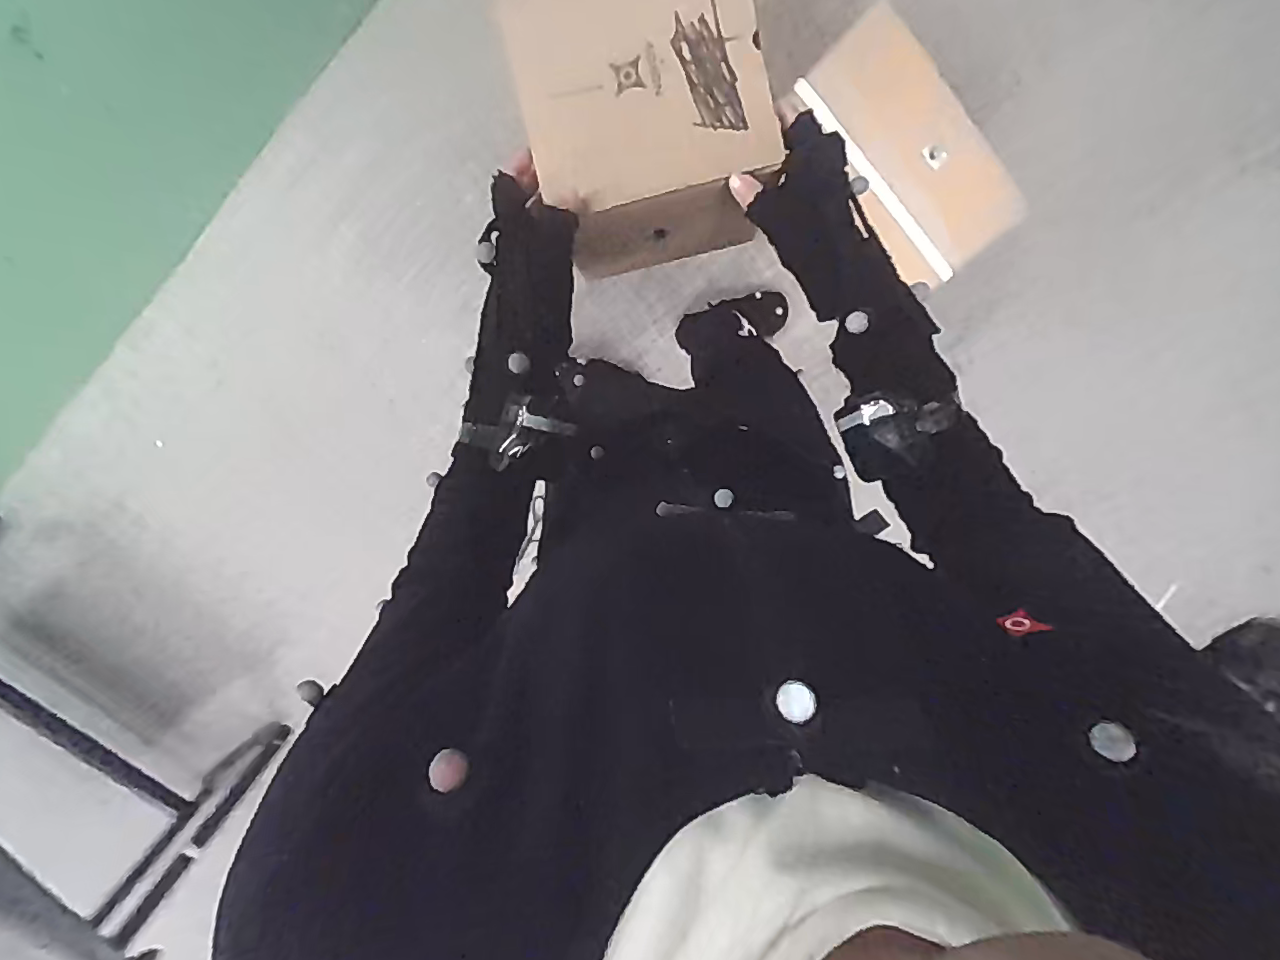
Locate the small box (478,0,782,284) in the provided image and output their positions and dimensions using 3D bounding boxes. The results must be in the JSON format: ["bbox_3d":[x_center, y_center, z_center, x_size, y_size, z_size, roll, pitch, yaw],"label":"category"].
[{"bbox_3d":[-0.003,-0.284,0.448,0.179,0.176,0.168,-17,96,6],"label":"small box"}]
